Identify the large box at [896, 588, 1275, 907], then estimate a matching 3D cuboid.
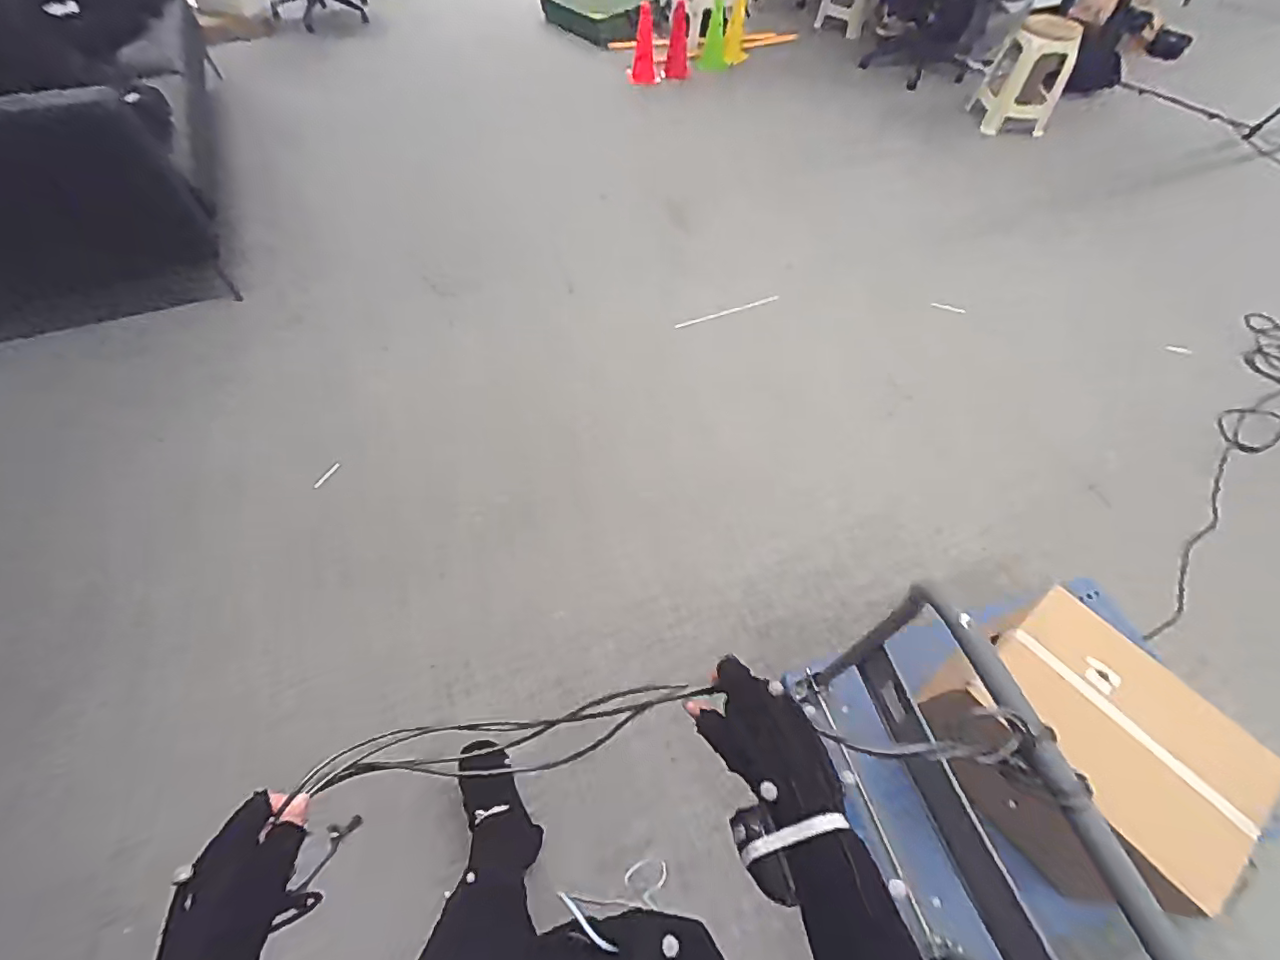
[{"bbox_3d":[0.801,0.496,1.040,0.320,0.320,0.408,-33,63,-21],"label":"large box"}]
